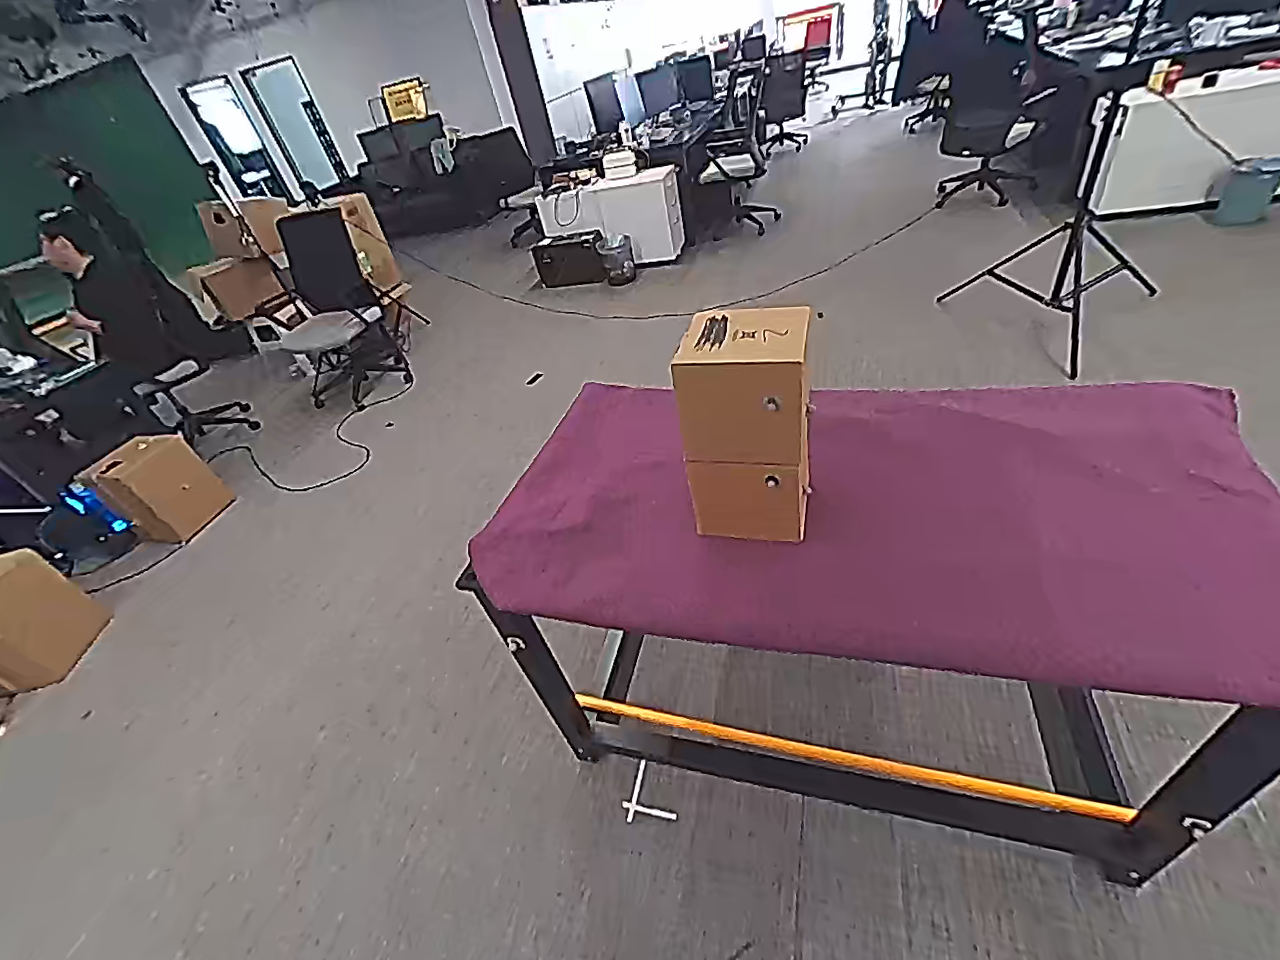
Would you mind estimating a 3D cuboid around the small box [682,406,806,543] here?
[{"bbox_3d":[0.184,-0.010,0.917,0.179,0.176,0.168,3,41,19],"label":"small box"}]
